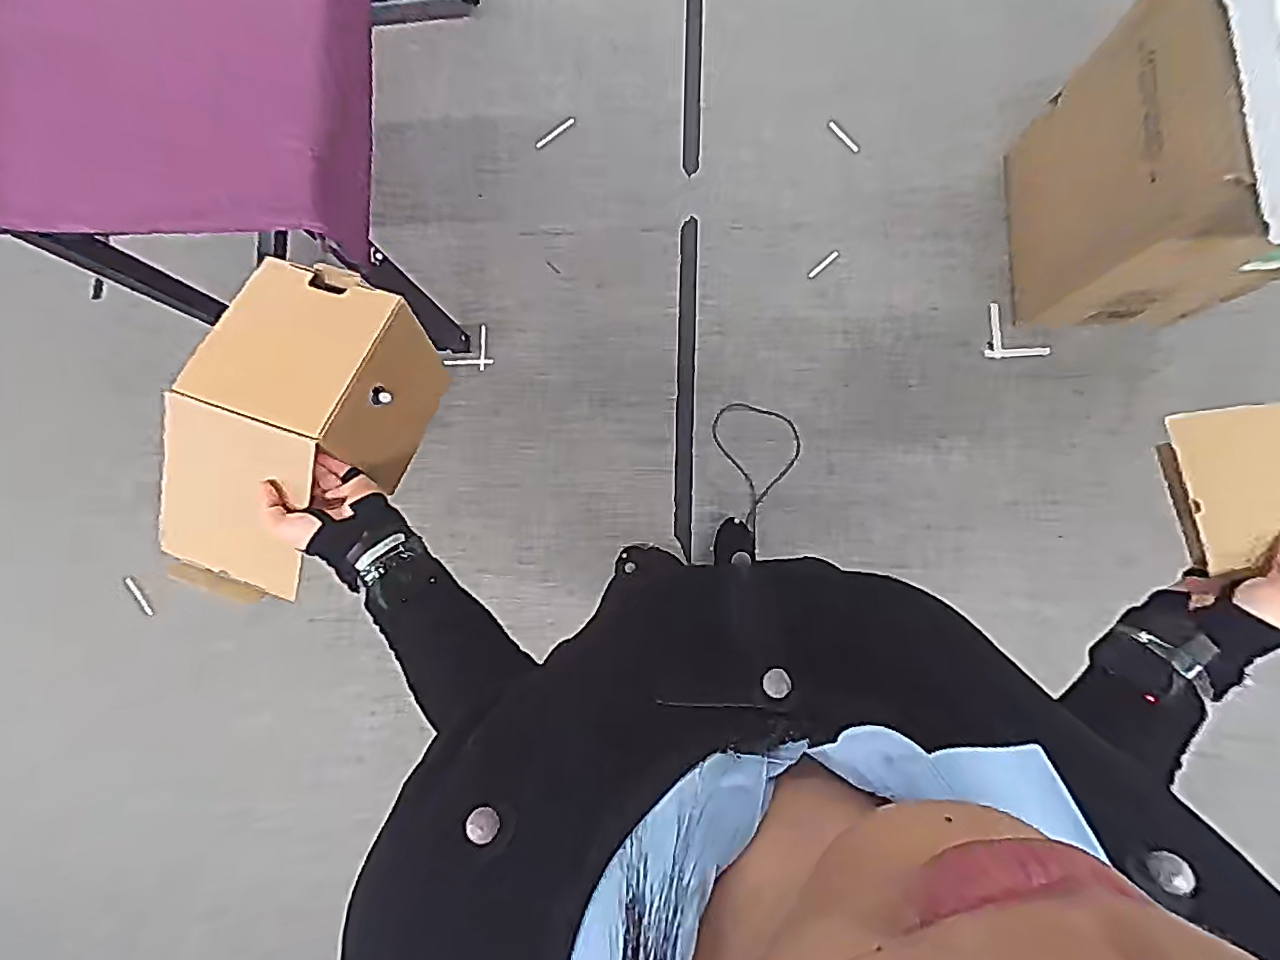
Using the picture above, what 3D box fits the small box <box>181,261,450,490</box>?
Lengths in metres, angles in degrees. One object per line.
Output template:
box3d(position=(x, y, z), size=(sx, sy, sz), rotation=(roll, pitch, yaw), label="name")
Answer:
box3d(position=(-0.346, -0.108, 0.621), size=(0.168, 0.176, 0.179), rotation=(18, 70, 7), label="small box")
